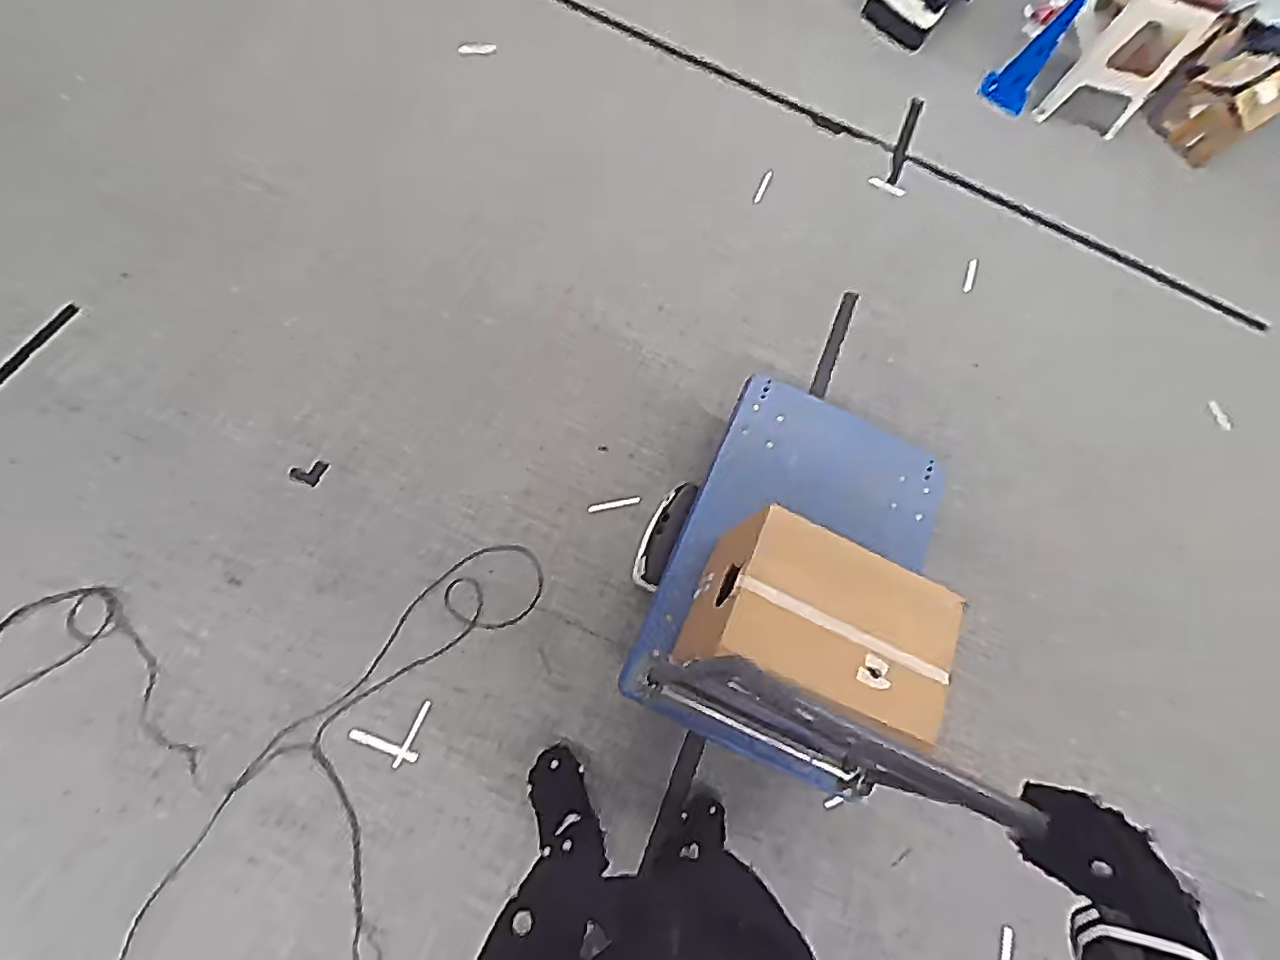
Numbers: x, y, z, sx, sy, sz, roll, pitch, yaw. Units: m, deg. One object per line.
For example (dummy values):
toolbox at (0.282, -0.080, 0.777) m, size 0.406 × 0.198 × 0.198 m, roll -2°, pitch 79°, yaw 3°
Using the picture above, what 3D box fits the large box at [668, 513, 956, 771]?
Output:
large box at (0.317, 0.313, 1.072) m, size 0.408 × 0.320 × 0.320 m, roll 26°, pitch 70°, yaw -2°
